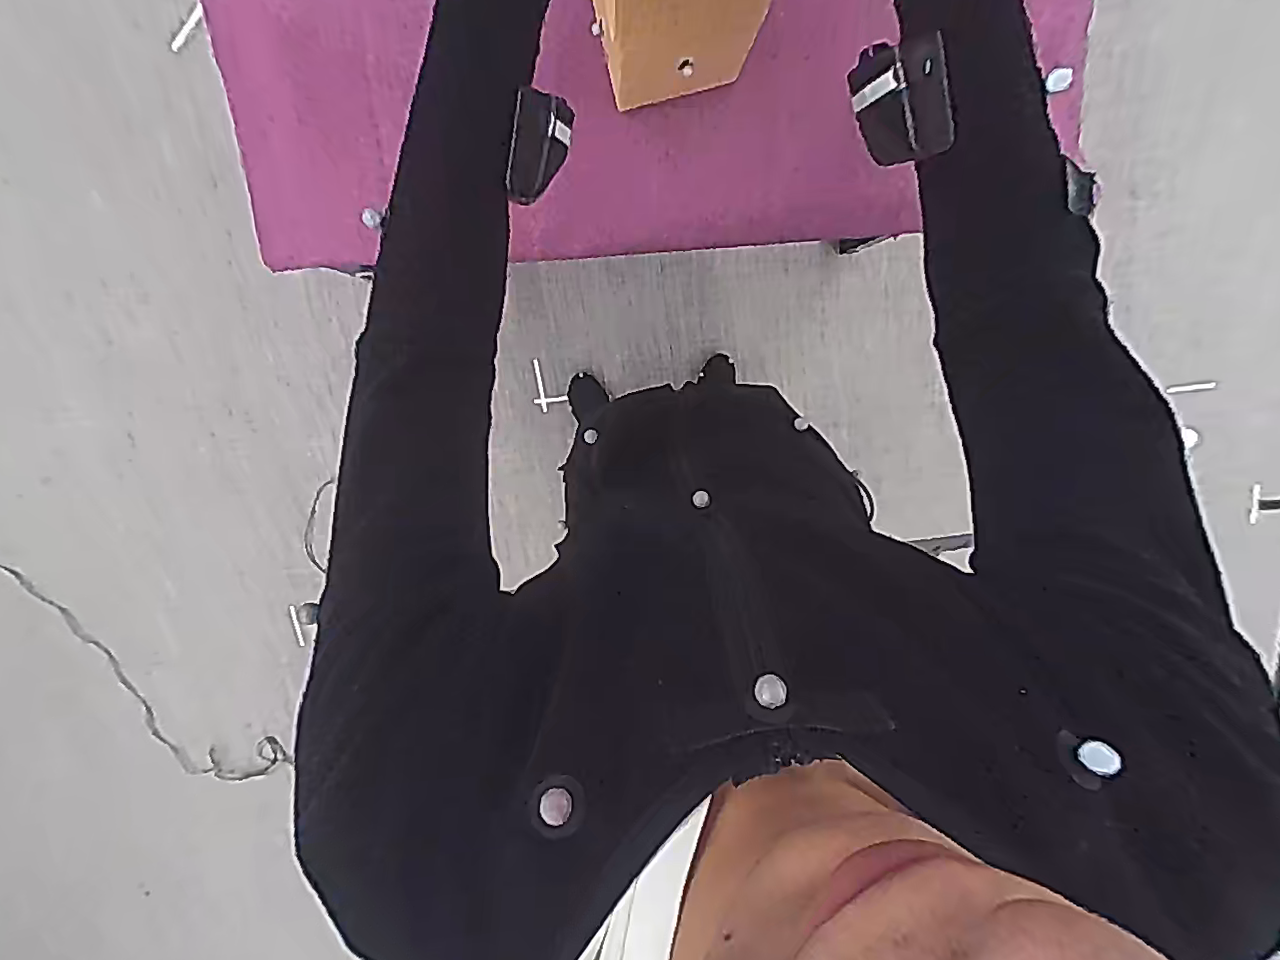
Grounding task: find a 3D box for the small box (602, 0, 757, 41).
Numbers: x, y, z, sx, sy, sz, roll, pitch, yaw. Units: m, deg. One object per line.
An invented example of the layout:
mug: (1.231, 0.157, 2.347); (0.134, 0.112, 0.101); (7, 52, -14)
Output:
small box: (0.040, -0.566, 0.520); (0.179, 0.176, 0.168); (-10, 103, -2)
